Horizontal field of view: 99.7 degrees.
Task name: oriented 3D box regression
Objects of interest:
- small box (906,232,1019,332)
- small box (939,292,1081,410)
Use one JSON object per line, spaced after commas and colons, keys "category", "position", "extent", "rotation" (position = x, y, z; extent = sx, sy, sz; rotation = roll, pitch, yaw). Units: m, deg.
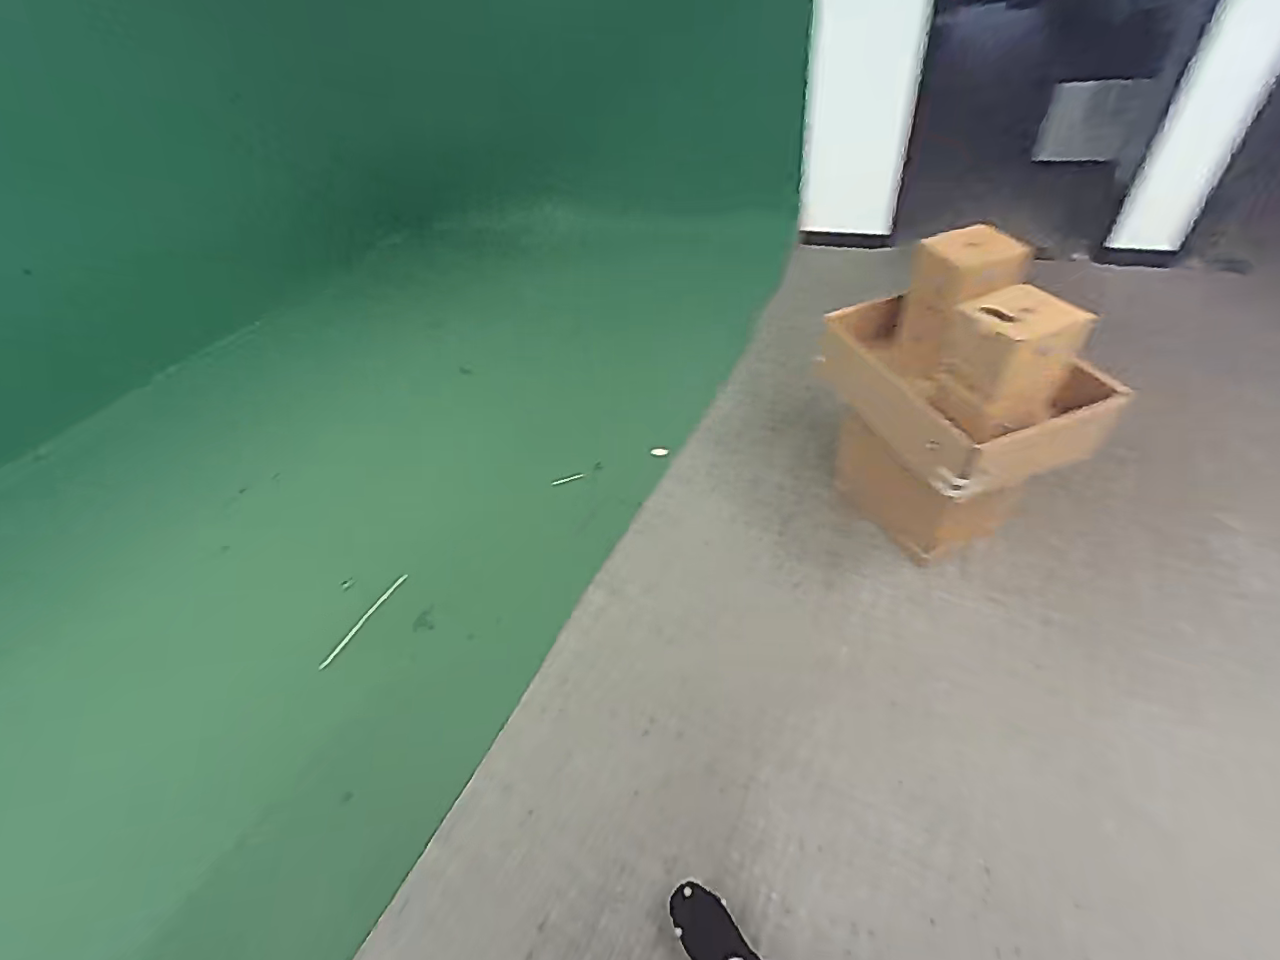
{"category": "small box", "position": [0.809, -0.502, 1.383], "extent": [0.179, 0.176, 0.168], "rotation": [-16, 47, -5]}
{"category": "small box", "position": [0.783, -0.276, 1.171], "extent": [0.179, 0.176, 0.168], "rotation": [-19, 46, -9]}
